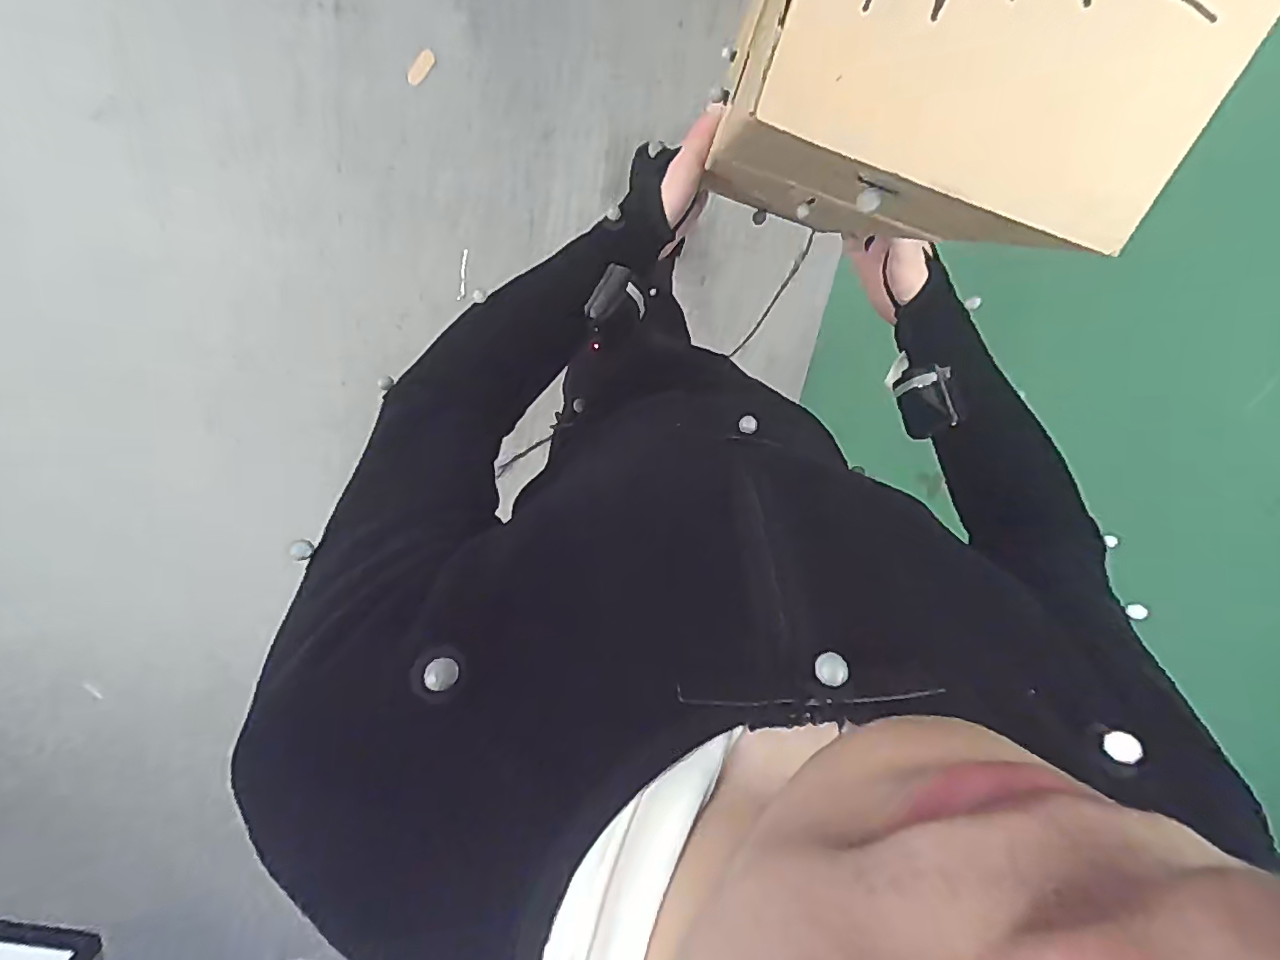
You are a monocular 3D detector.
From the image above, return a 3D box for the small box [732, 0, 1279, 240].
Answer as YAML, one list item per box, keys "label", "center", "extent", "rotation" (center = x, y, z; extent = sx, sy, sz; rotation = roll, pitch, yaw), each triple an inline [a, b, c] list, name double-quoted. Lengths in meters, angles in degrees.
- label: "small box"
  center: [0.157, -0.233, 0.266]
  extent: [0.179, 0.176, 0.168]
  rotation: [17, 117, -6]

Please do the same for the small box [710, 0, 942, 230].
- label: "small box"
  center: [0.162, -0.306, 0.413]
  extent: [0.179, 0.176, 0.168]
  rotation: [18, 117, -6]

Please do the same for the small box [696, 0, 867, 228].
- label: "small box"
  center: [0.168, -0.378, 0.560]
  extent: [0.179, 0.176, 0.168]
  rotation: [17, 116, -5]
